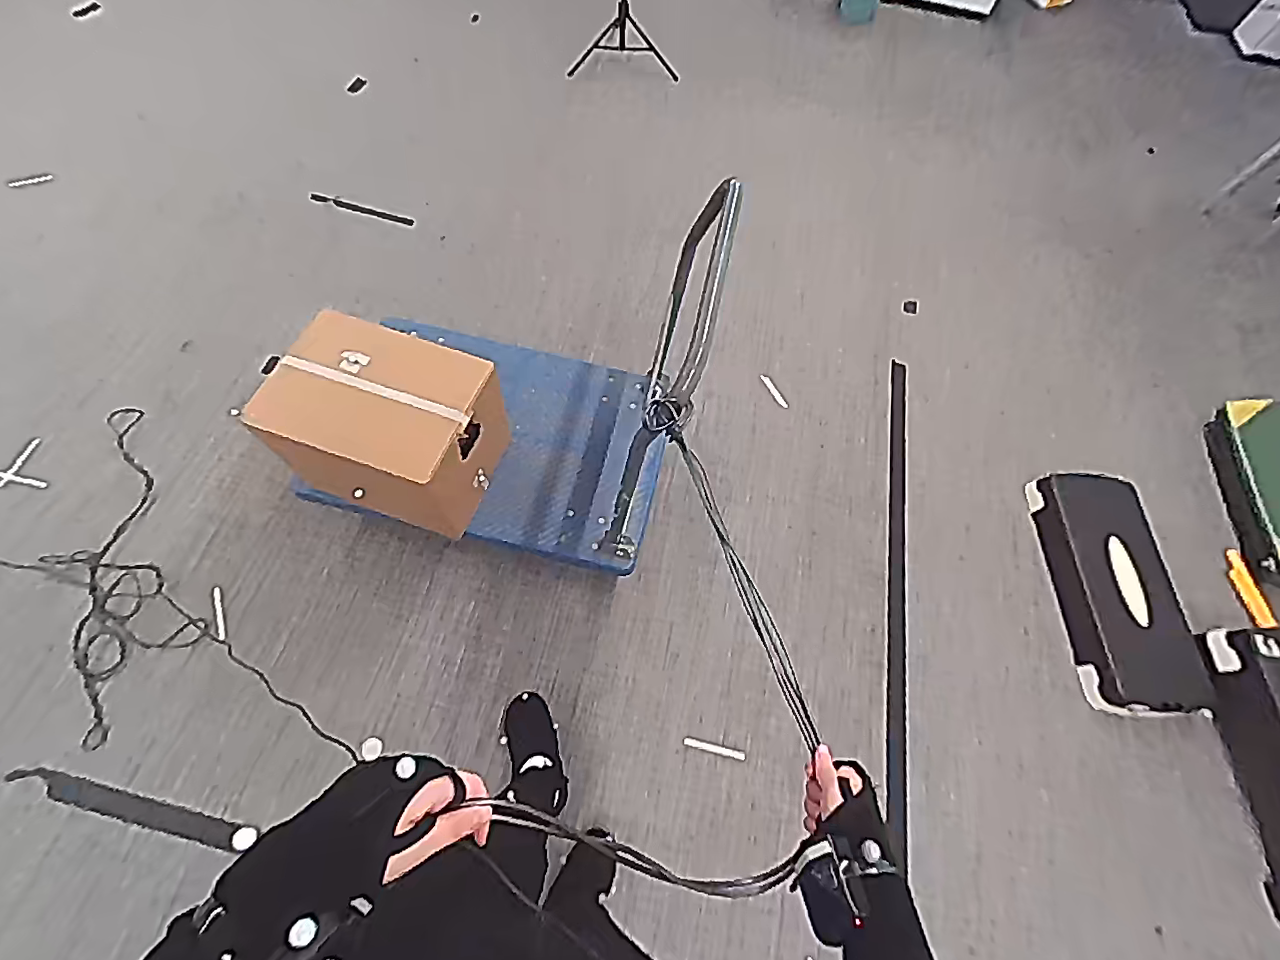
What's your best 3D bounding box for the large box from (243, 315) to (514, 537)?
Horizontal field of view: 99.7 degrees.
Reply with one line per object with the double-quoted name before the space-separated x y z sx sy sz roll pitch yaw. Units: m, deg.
"large box" -0.547 -0.109 1.231 0.408 0.320 0.320 18 63 4
